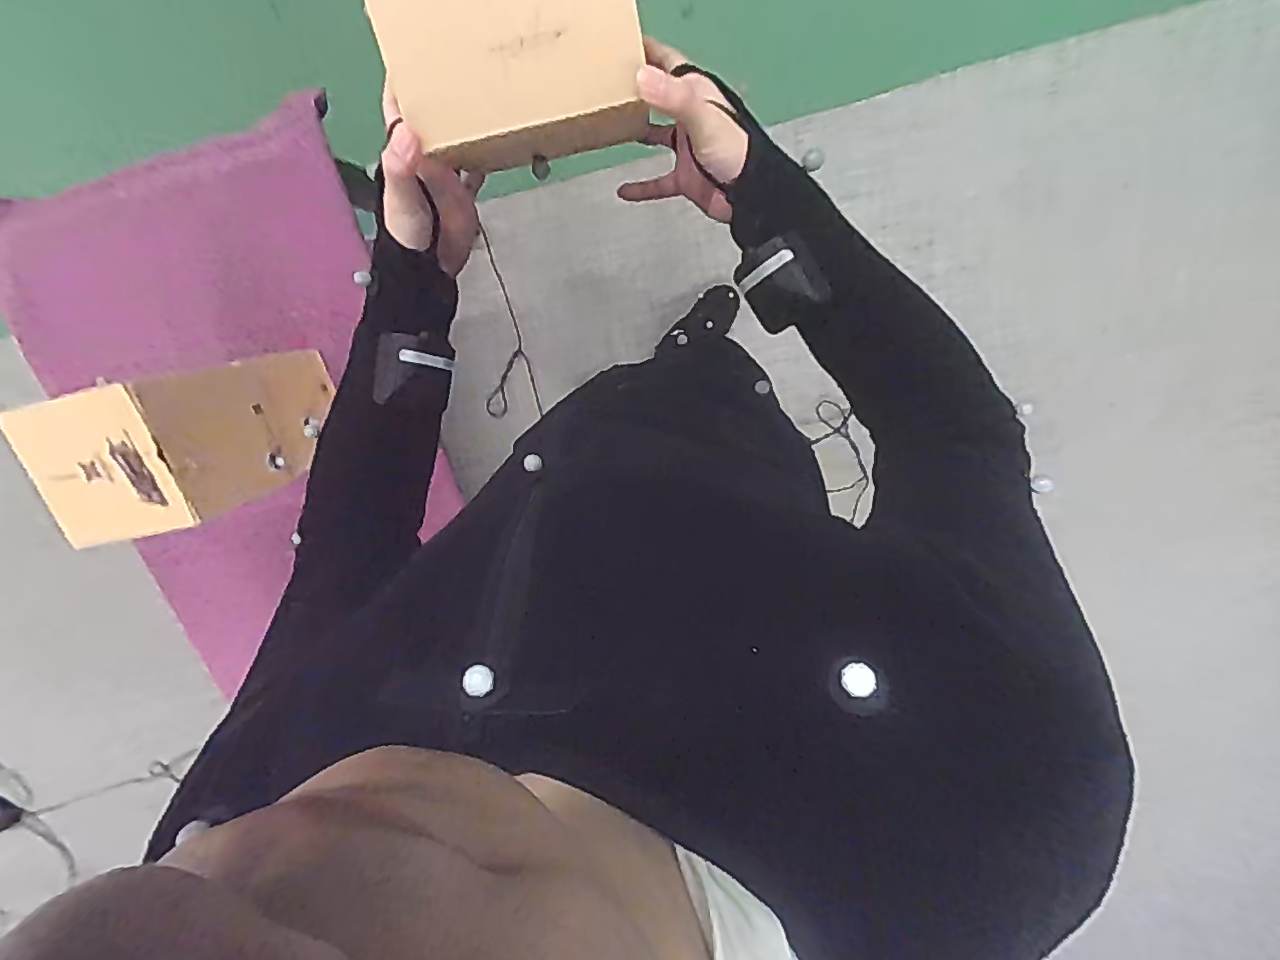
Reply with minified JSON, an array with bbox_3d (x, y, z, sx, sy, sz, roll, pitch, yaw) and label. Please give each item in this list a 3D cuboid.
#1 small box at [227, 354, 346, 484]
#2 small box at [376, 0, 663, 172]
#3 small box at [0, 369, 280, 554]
[{"bbox_3d":[-0.579,-0.083,0.812,0.179,0.176,0.168,-13,108,10],"label":"small box"},{"bbox_3d":[-0.080,-0.339,0.387,0.168,0.176,0.179,-9,115,4],"label":"small box"},{"bbox_3d":[-0.582,-0.031,0.655,0.179,0.176,0.168,-10,108,9],"label":"small box"}]
